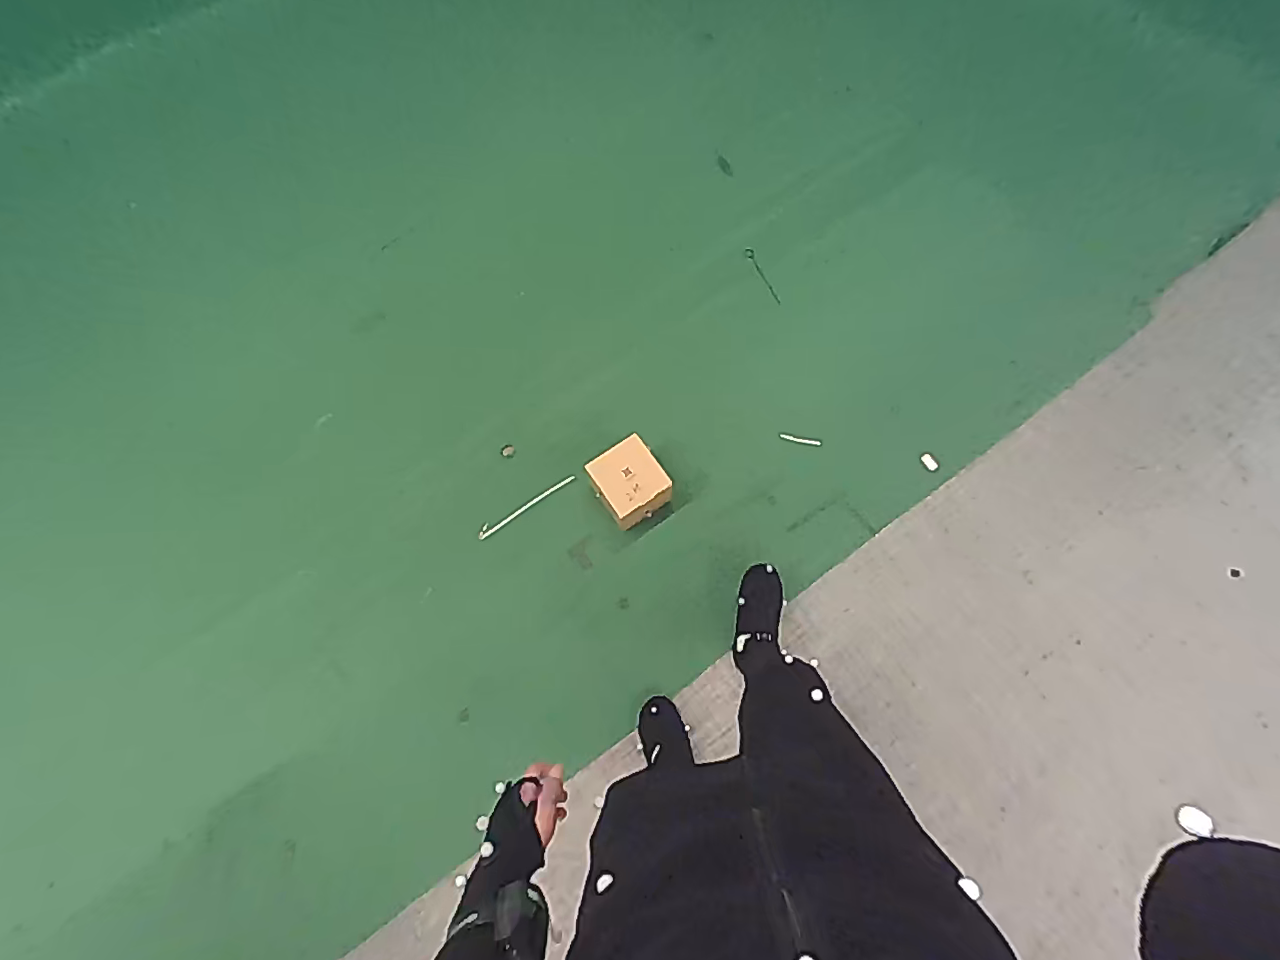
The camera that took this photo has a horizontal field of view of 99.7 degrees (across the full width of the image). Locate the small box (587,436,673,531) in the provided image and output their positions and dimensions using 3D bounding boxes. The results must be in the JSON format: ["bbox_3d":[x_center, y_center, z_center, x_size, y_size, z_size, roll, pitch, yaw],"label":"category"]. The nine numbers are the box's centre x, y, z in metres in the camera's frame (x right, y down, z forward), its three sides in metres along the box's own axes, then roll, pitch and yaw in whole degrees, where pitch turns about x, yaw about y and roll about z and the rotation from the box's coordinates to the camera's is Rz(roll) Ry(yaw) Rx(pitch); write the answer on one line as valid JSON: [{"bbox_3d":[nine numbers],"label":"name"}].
[{"bbox_3d":[-0.027,0.015,1.478,0.168,0.176,0.179,-33,76,-9],"label":"small box"}]
